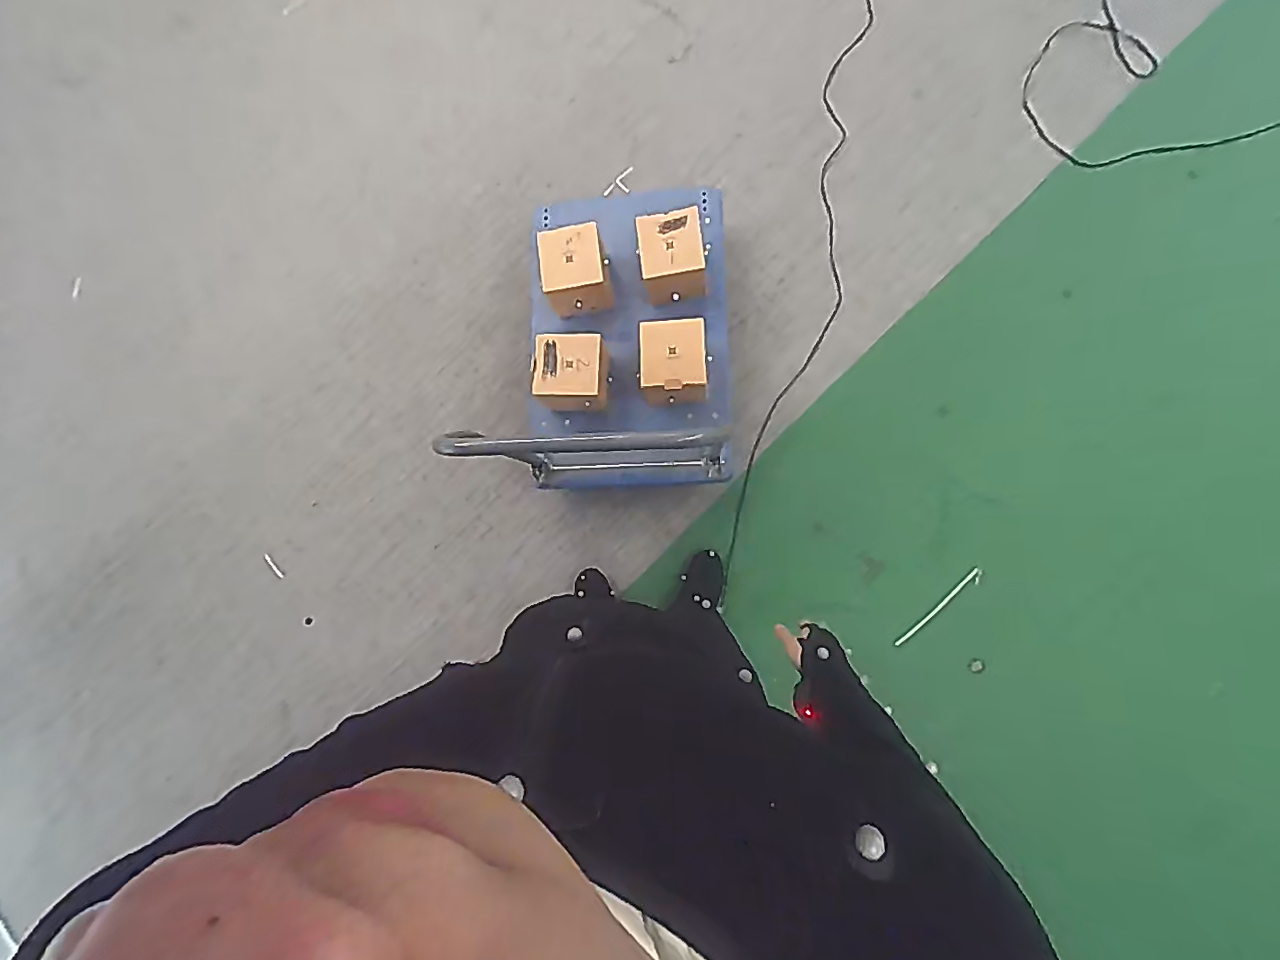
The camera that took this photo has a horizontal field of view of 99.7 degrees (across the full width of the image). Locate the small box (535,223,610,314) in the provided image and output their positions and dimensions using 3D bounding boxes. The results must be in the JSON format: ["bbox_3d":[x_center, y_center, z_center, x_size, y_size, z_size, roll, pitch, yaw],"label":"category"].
[{"bbox_3d":[-0.182,-0.577,1.506,0.168,0.176,0.179,-8,82,5],"label":"small box"}]

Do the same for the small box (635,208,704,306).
[{"bbox_3d":[0.084,-0.603,1.475,0.168,0.176,0.179,-7,83,7],"label":"small box"}]

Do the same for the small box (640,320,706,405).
[{"bbox_3d":[0.089,-0.308,1.442,0.168,0.176,0.179,-2,84,7],"label":"small box"}]
